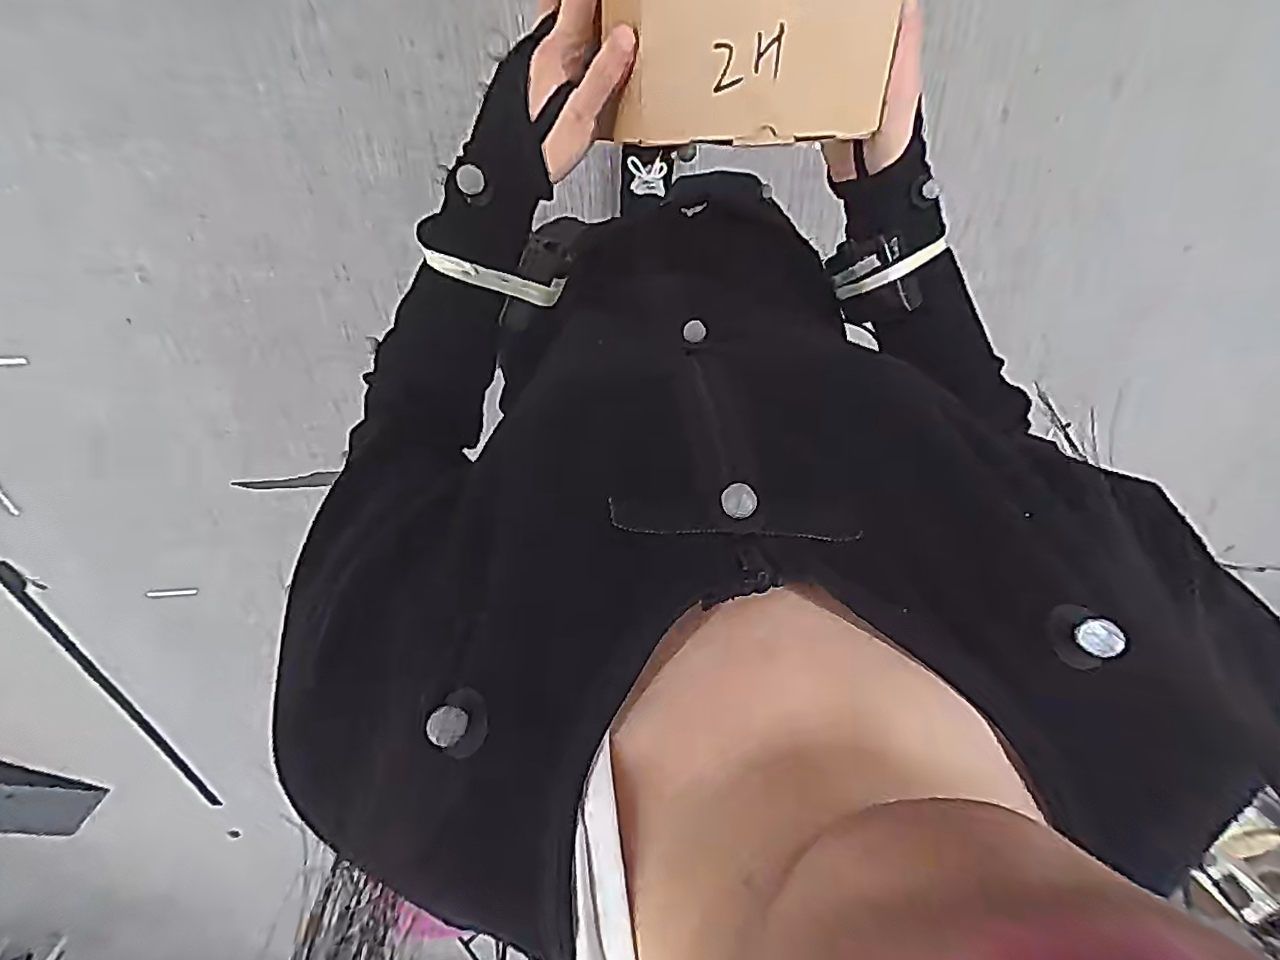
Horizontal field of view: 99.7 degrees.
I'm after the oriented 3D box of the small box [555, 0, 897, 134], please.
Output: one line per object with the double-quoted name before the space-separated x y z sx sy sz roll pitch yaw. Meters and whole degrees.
"small box" 0.043 -0.324 0.339 0.168 0.176 0.179 -13 125 -17
